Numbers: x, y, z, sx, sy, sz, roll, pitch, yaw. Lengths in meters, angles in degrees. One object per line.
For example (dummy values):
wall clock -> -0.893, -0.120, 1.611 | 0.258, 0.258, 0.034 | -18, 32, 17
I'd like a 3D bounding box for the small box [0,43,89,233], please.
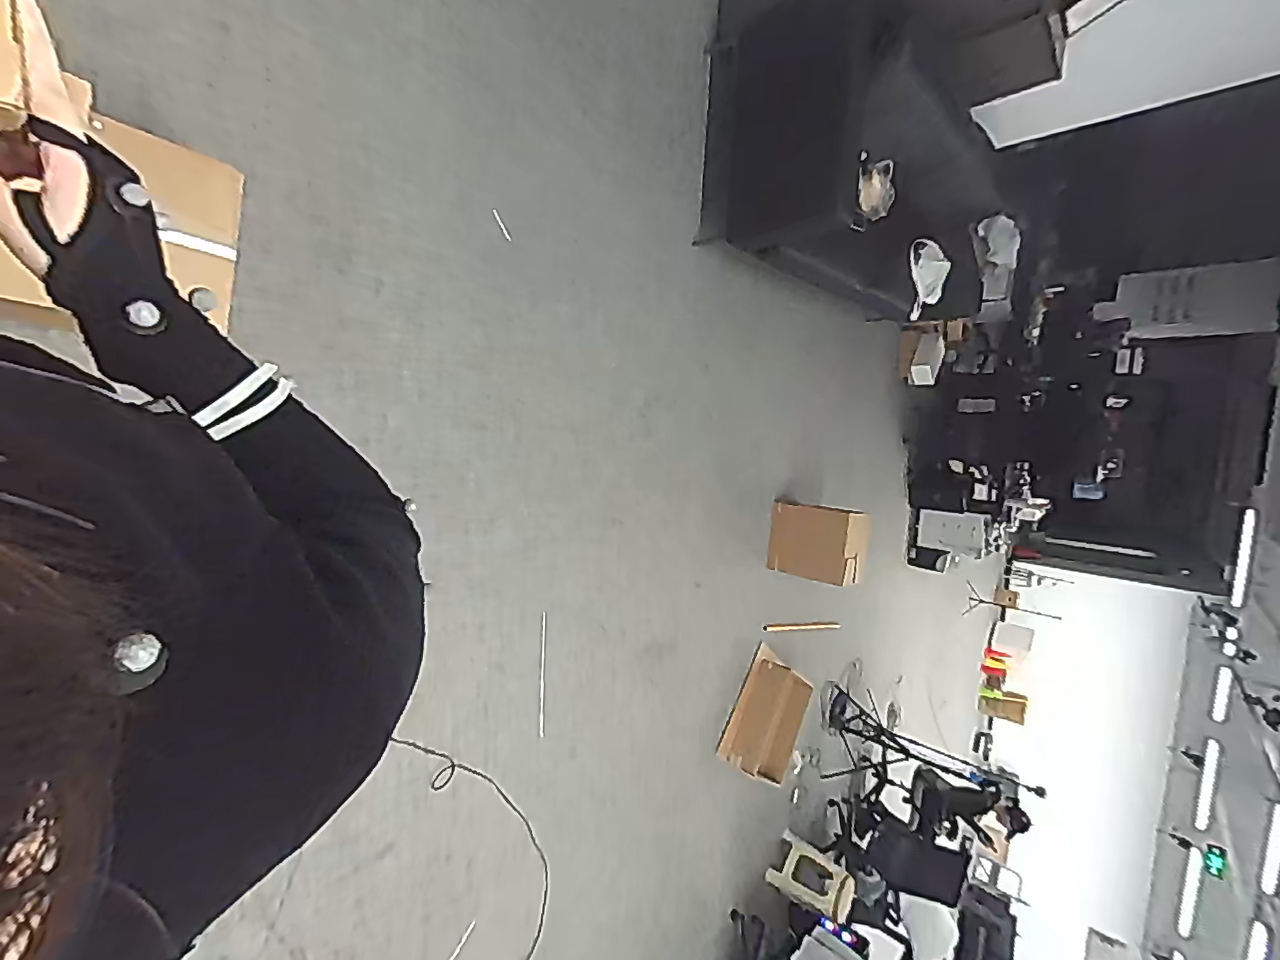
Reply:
small box -> -0.849, -0.452, 0.708 | 0.168, 0.176, 0.179 | 5, 90, -48
